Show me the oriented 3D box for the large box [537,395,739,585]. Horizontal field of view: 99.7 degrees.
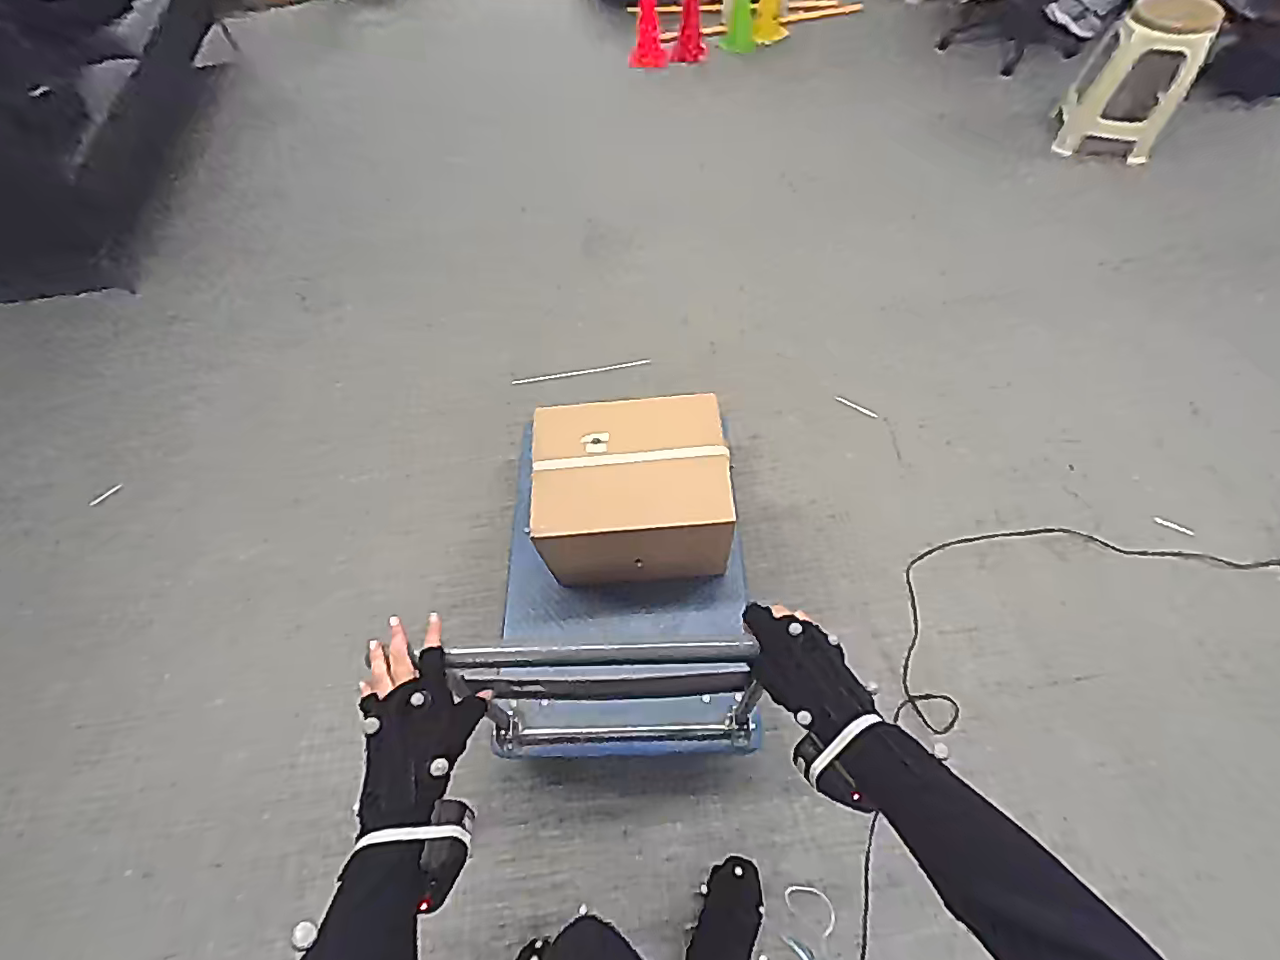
[{"bbox_3d":[-0.004,0.037,1.254,0.408,0.320,0.320,-6,60,2],"label":"large box"}]
